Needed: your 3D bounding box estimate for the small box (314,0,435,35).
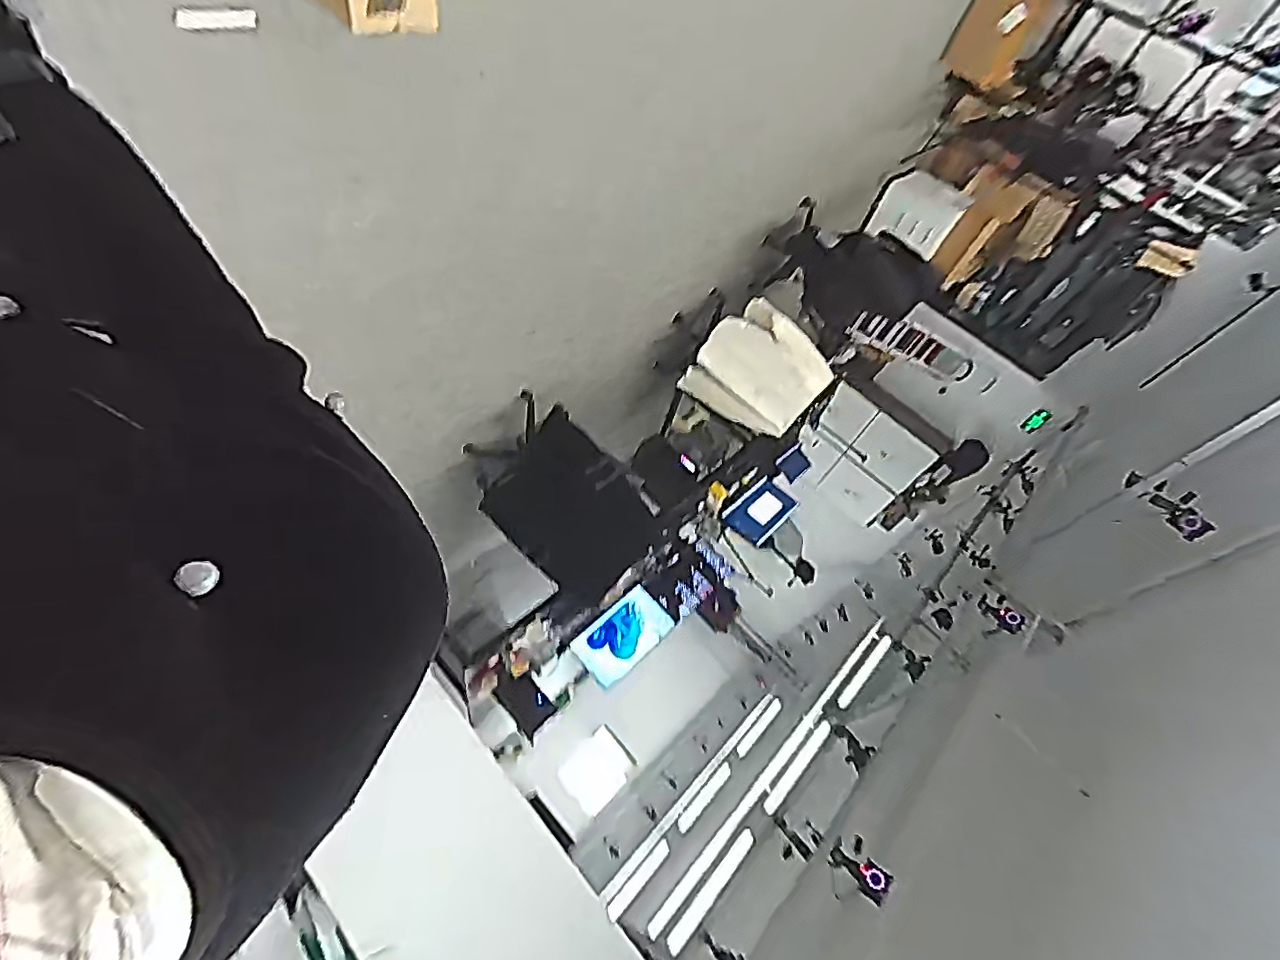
[{"bbox_3d":[-0.478,-0.906,0.929,0.168,0.176,0.179,-36,159,-34],"label":"small box"}]
